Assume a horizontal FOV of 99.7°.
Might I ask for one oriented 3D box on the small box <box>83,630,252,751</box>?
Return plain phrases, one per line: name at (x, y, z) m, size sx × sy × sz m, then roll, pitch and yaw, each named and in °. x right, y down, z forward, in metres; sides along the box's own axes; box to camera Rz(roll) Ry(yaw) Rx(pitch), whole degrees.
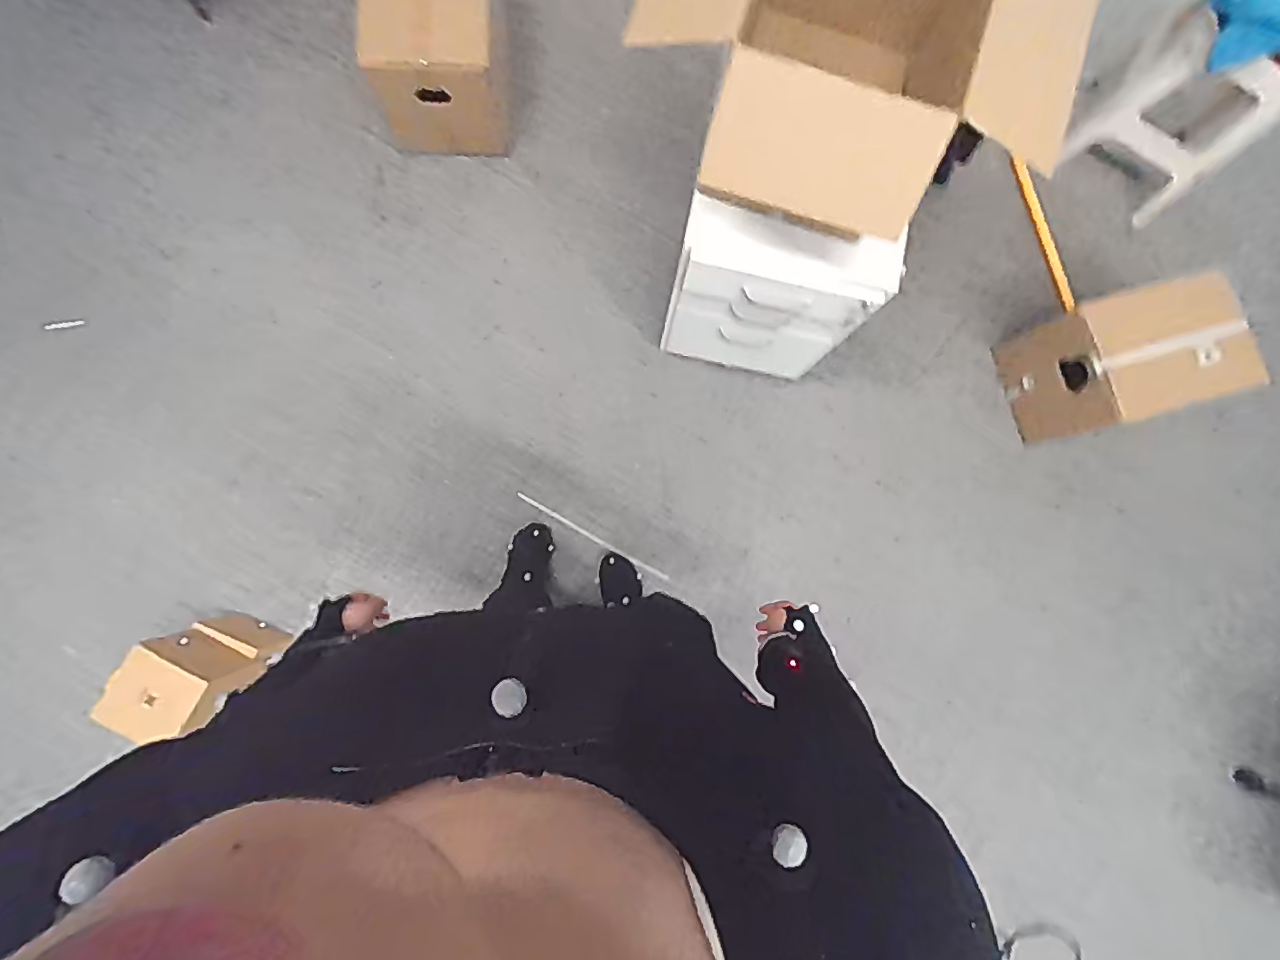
small box at (-1.004, 0.440, 1.167) m, size 0.179 × 0.176 × 0.168 m, roll 29°, pitch 84°, yaw -1°
